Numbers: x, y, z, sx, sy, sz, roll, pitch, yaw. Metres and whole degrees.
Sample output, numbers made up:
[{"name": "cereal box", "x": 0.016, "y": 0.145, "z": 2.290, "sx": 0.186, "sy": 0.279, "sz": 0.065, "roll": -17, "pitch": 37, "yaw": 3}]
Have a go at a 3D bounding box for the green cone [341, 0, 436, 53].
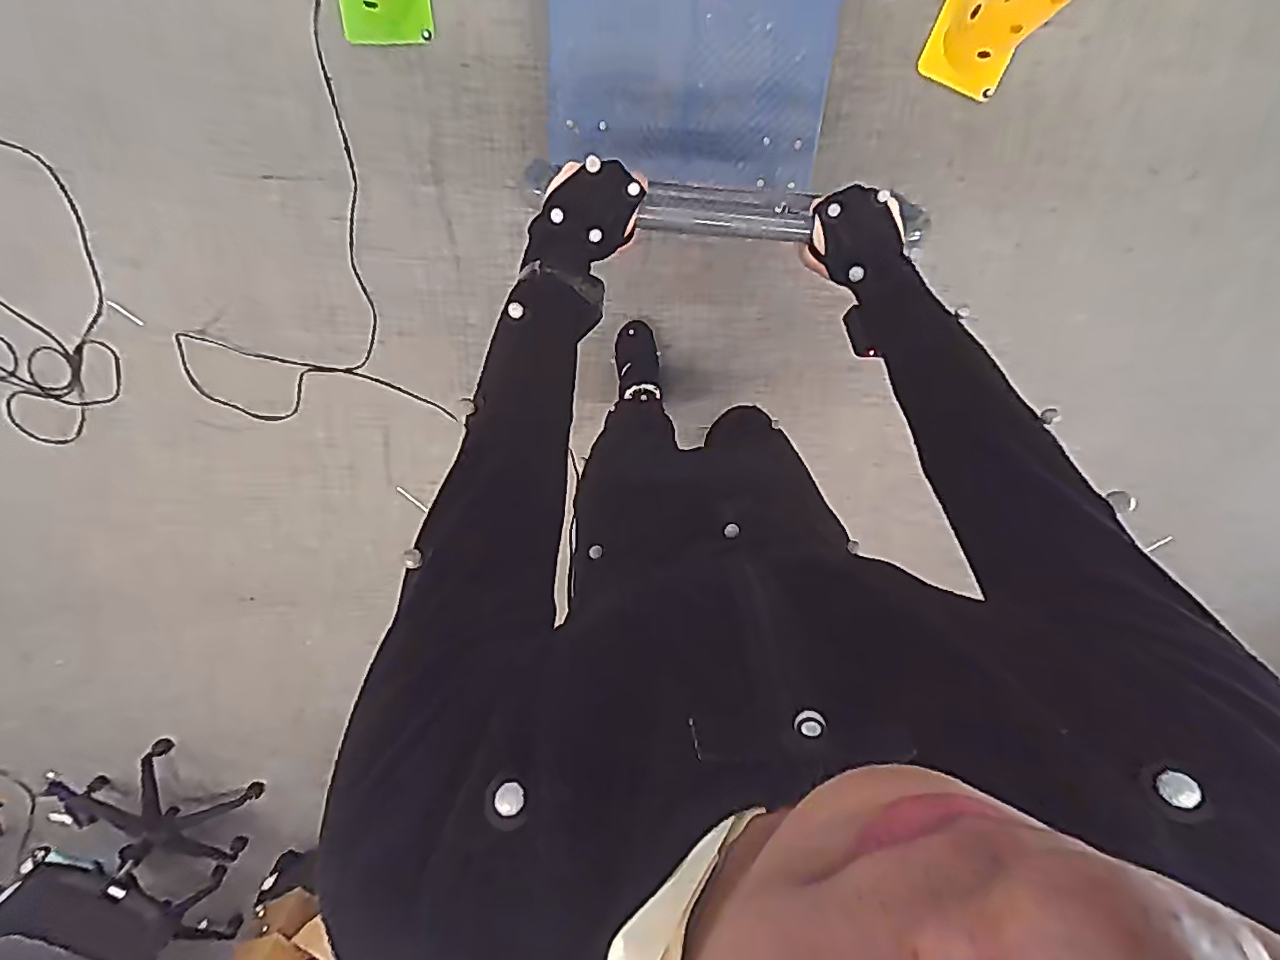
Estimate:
[{"name": "green cone", "x": -0.560, "y": -0.995, "z": 1.023, "sx": 0.202, "sy": 0.368, "sz": 0.200, "roll": -1, "pitch": 112, "yaw": 2}]
